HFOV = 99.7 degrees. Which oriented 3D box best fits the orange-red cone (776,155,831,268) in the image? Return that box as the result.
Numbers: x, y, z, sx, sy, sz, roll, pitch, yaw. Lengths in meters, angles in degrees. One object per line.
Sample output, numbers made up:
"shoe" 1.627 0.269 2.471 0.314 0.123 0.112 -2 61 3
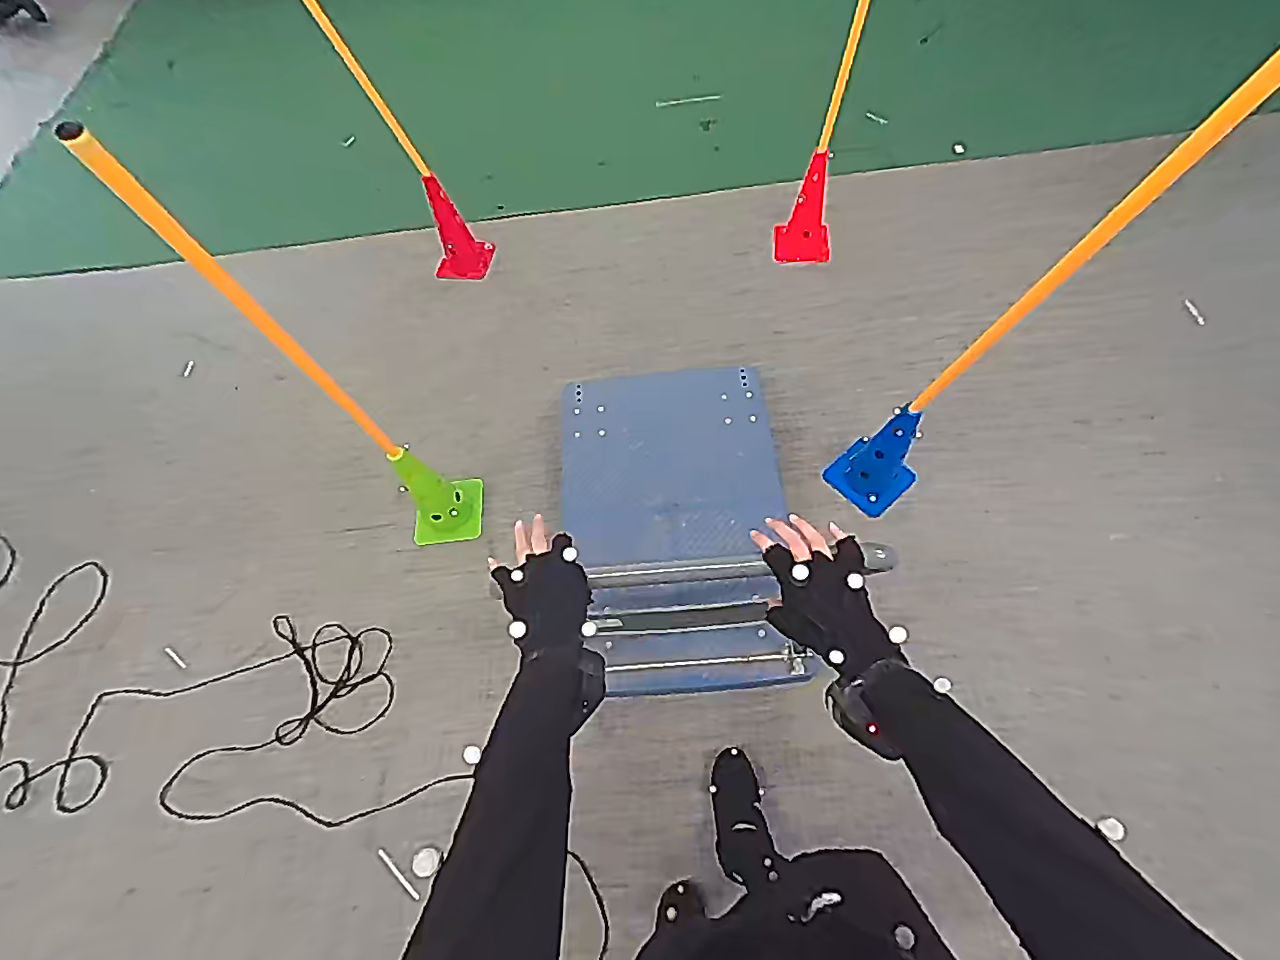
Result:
"orange-red cone" 0.597 -0.944 1.877 0.198 0.360 0.199 4 64 8
